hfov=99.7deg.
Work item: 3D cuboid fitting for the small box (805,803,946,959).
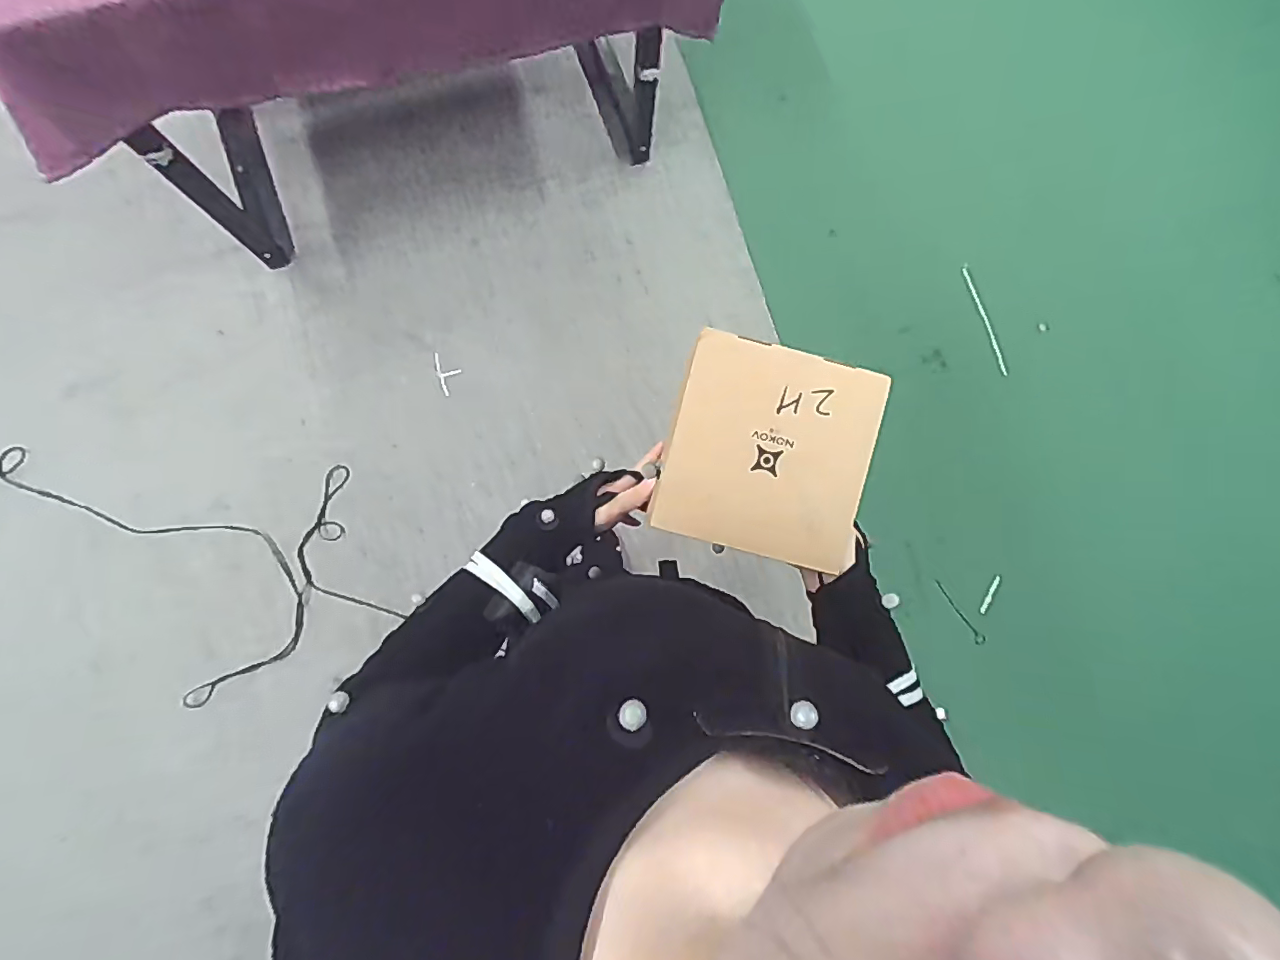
[{"bbox_3d":[0.445,0.778,1.062,0.179,0.176,0.168,-18,84,-9],"label":"small box"}]

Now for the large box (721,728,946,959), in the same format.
[{"bbox_3d":[0.430,0.885,1.293,0.320,0.320,0.408,-17,84,-7],"label":"large box"}]
